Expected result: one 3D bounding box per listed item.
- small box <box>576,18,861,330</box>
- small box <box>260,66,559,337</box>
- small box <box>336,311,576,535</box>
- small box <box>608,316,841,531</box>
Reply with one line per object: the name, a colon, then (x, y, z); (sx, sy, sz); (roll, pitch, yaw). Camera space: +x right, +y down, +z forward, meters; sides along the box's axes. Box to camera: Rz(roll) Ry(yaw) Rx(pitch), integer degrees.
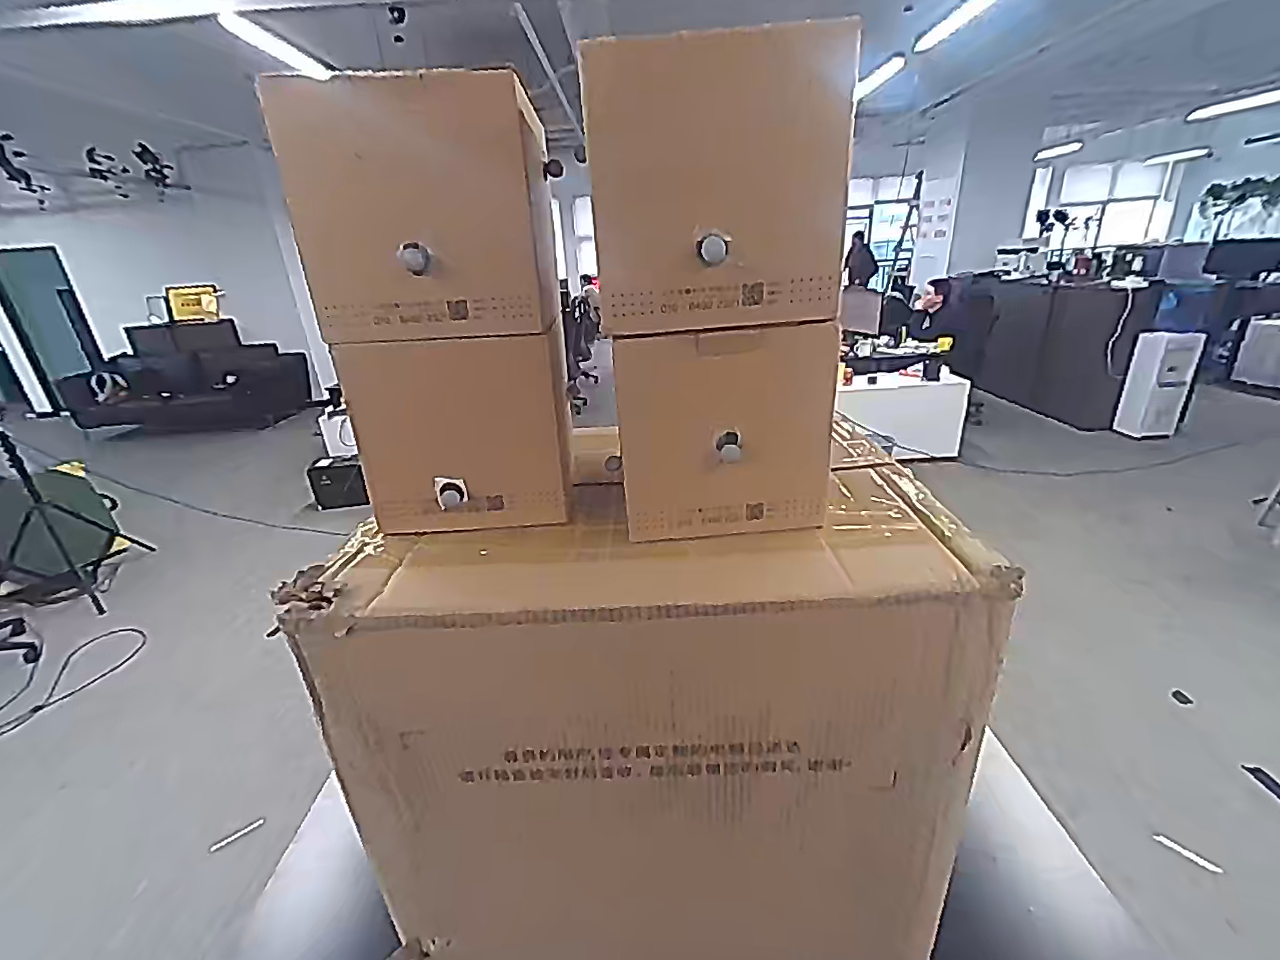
small box: (0.048, -0.212, 0.414); (0.168, 0.176, 0.179); (-4, 24, 1)
small box: (-0.162, -0.214, 0.449); (0.168, 0.176, 0.179); (-4, 23, -2)
small box: (-0.152, -0.063, 0.515); (0.168, 0.176, 0.179); (-5, 24, -4)
small box: (0.060, -0.062, 0.481); (0.168, 0.176, 0.179); (-4, 23, -3)
